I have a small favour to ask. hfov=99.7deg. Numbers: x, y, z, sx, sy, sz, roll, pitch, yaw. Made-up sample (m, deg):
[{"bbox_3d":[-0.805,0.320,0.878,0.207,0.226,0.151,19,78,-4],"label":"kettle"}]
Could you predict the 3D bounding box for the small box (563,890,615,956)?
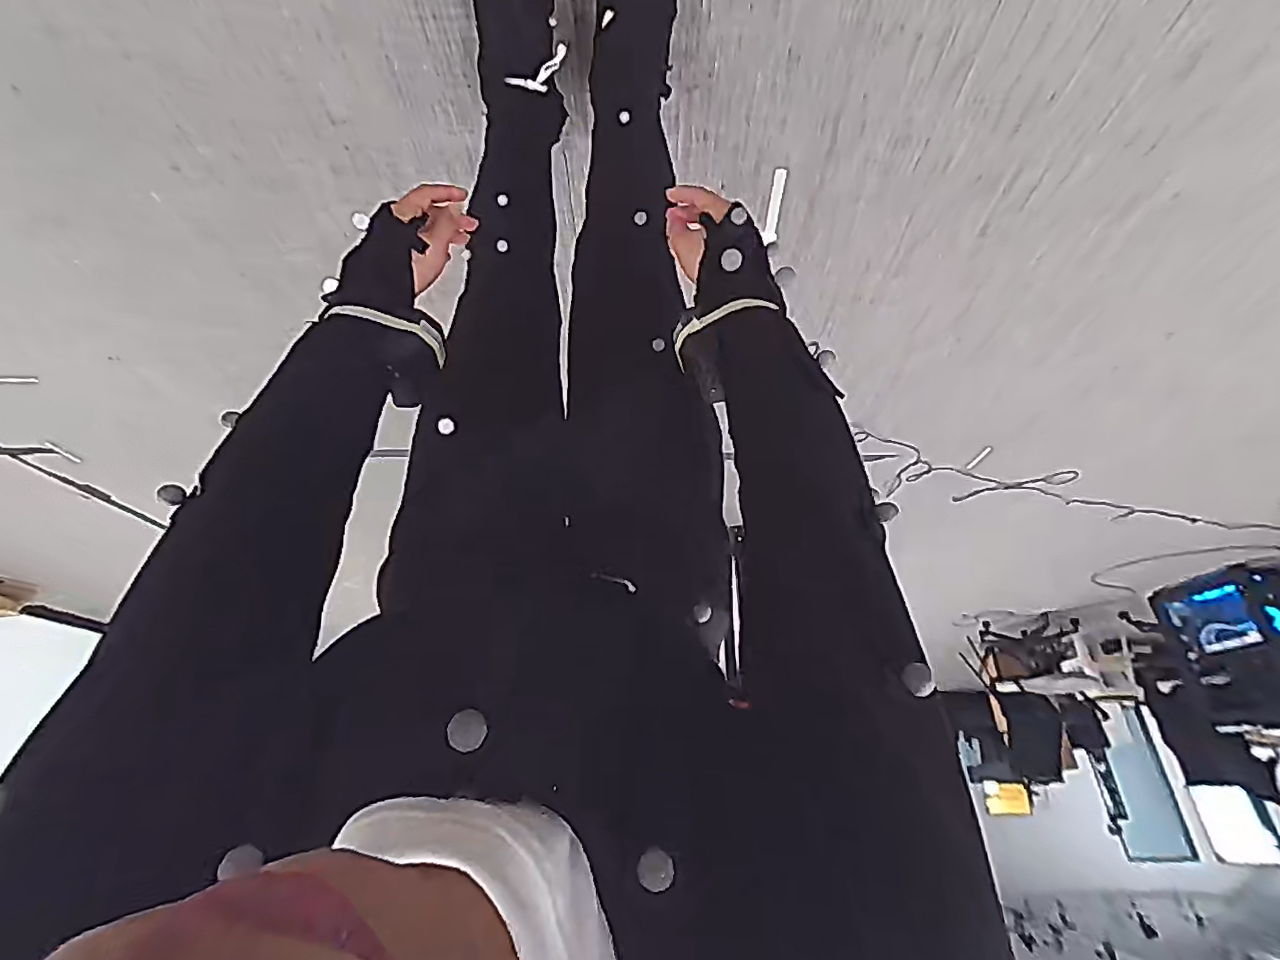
[{"bbox_3d":[-0.185,1.654,2.026,0.179,0.176,0.168,-3,152,1],"label":"small box"}]
